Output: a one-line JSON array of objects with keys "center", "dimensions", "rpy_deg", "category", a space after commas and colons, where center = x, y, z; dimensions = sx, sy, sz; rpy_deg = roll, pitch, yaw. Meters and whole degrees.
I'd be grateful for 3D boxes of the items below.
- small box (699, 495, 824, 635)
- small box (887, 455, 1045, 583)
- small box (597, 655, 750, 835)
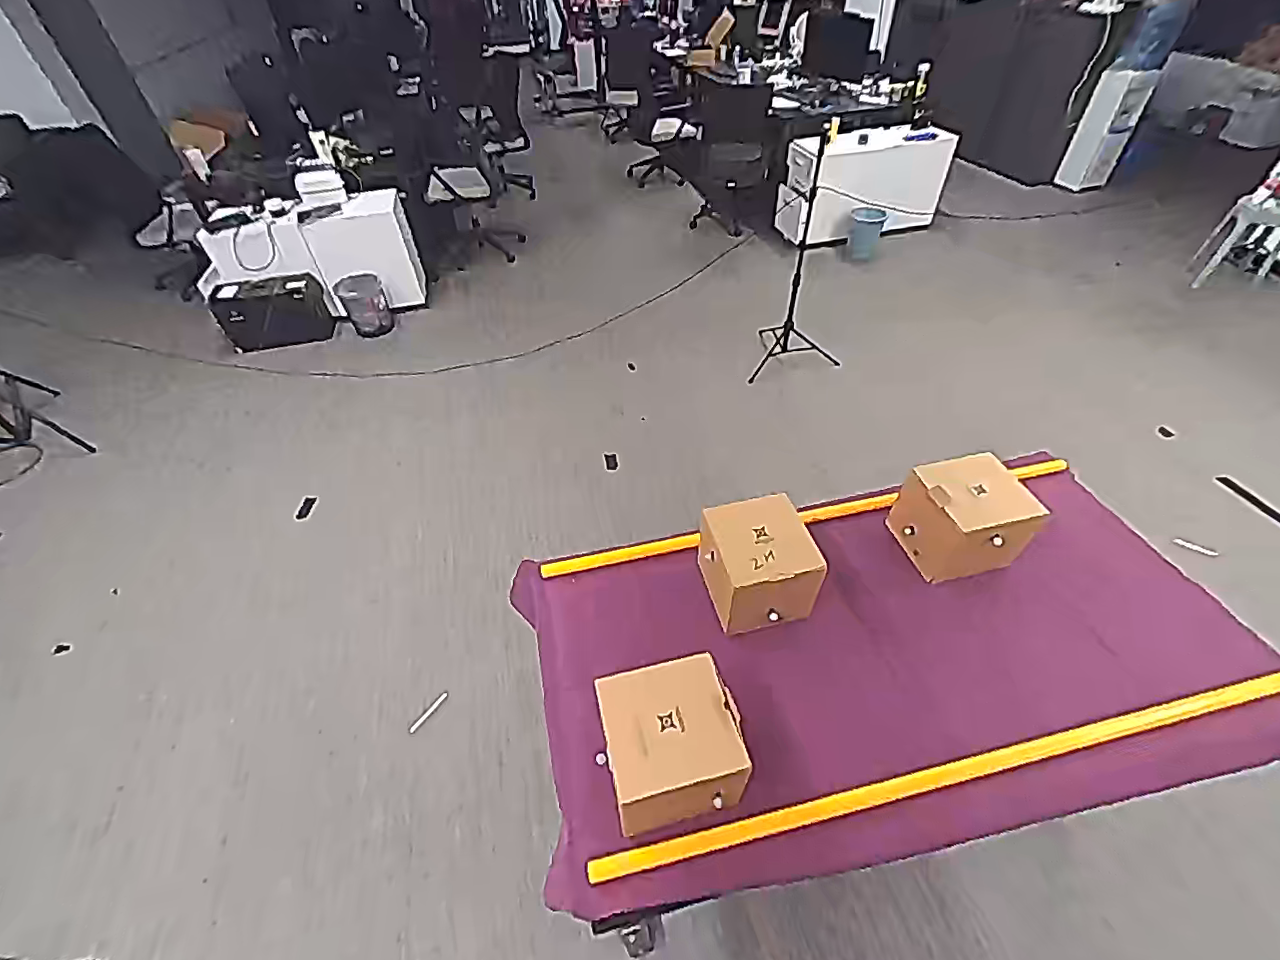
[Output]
[{"center": [0.211, 0.158, 1.002], "dimensions": [0.168, 0.176, 0.179], "rpy_deg": [-11, 47, -7], "category": "small box"}, {"center": [0.622, 0.078, 1.059], "dimensions": [0.179, 0.176, 0.168], "rpy_deg": [-11, 47, -7], "category": "small box"}, {"center": [0.039, 0.384, 0.785], "dimensions": [0.179, 0.176, 0.168], "rpy_deg": [-10, 45, -10], "category": "small box"}]
